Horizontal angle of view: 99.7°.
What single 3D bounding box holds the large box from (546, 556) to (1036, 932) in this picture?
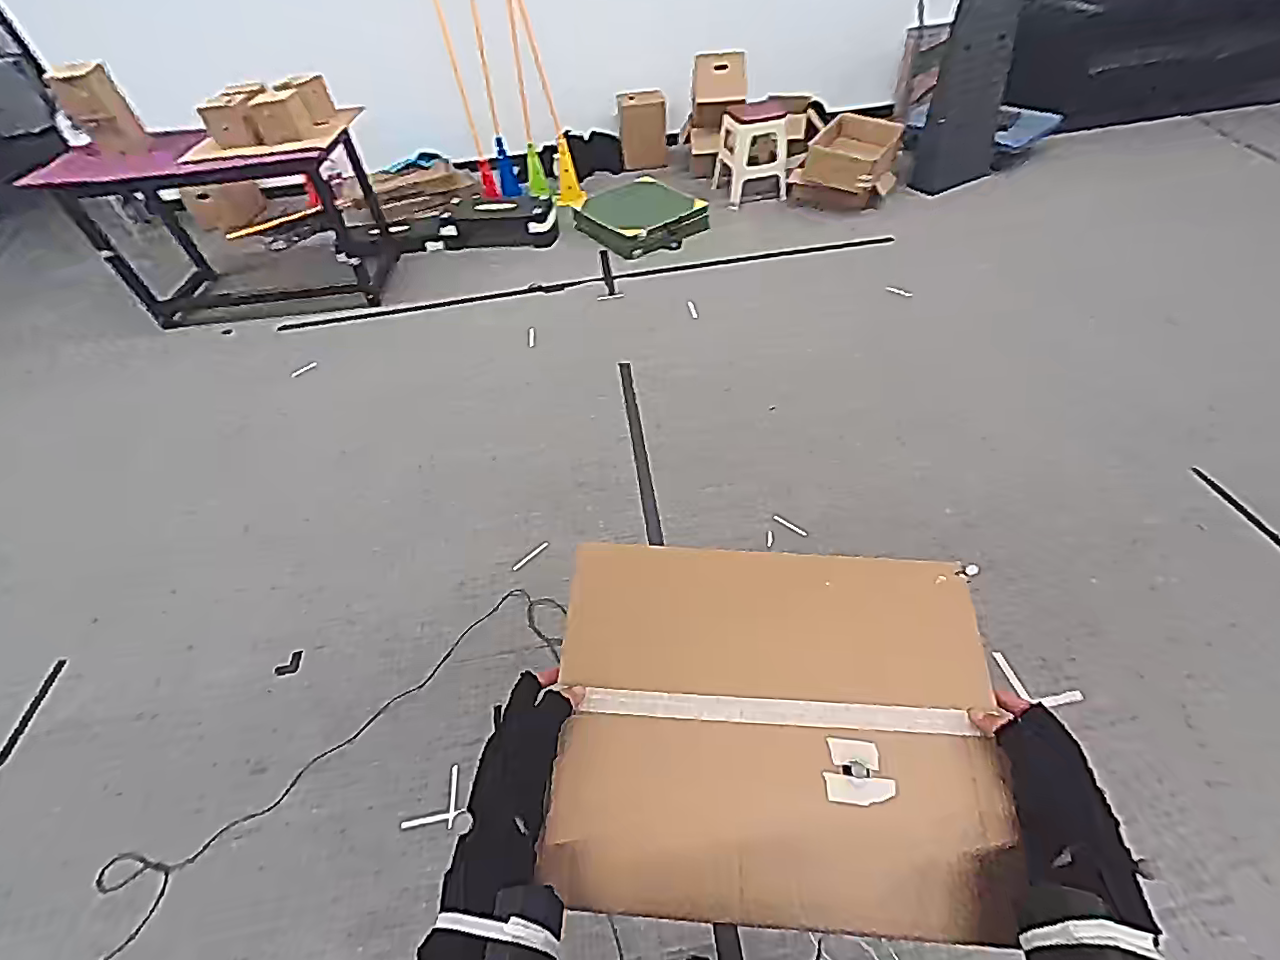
[{"bbox_3d":[0.125,0.296,0.637,0.408,0.320,0.320,2,61,2],"label":"large box"}]
